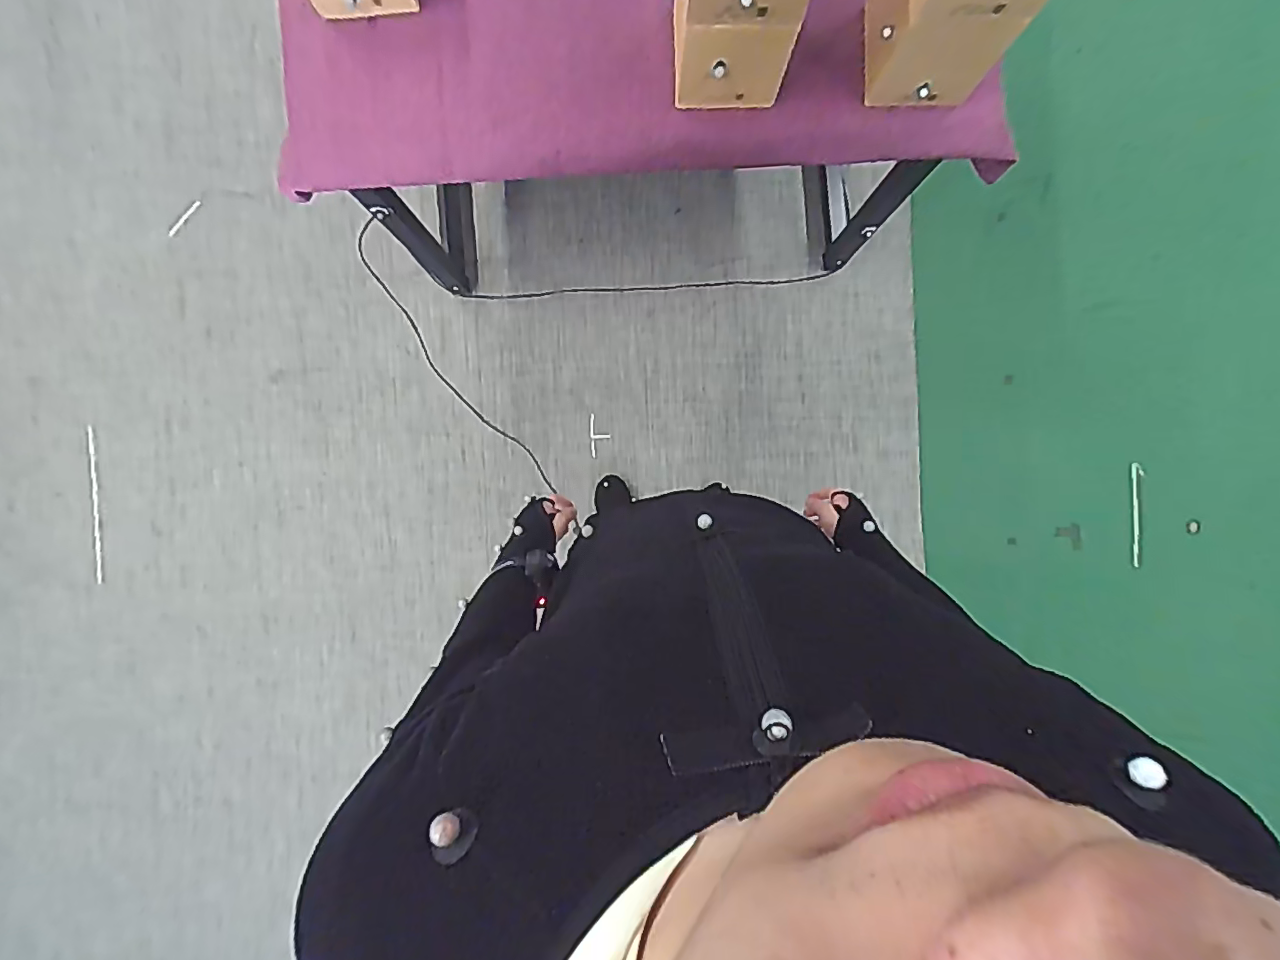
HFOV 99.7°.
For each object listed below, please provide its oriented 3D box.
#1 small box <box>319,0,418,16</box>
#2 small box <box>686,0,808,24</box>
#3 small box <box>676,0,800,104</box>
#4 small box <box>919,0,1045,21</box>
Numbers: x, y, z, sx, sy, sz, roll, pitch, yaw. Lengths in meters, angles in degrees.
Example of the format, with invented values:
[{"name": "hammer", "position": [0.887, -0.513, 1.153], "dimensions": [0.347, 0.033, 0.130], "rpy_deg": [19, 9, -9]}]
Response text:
[{"name": "small box", "position": [-0.460, -0.873, 0.831], "dimensions": [0.168, 0.176, 0.179], "rpy_deg": [-6, 91, 0]}, {"name": "small box", "position": [0.144, -0.721, 0.668], "dimensions": [0.168, 0.176, 0.179], "rpy_deg": [0, 90, 1]}, {"name": "small box", "position": [0.143, -0.716, 0.832], "dimensions": [0.168, 0.176, 0.179], "rpy_deg": [-1, 89, 0]}, {"name": "small box", "position": [0.461, -0.722, 0.664], "dimensions": [0.168, 0.176, 0.179], "rpy_deg": [1, 89, 1]}]
